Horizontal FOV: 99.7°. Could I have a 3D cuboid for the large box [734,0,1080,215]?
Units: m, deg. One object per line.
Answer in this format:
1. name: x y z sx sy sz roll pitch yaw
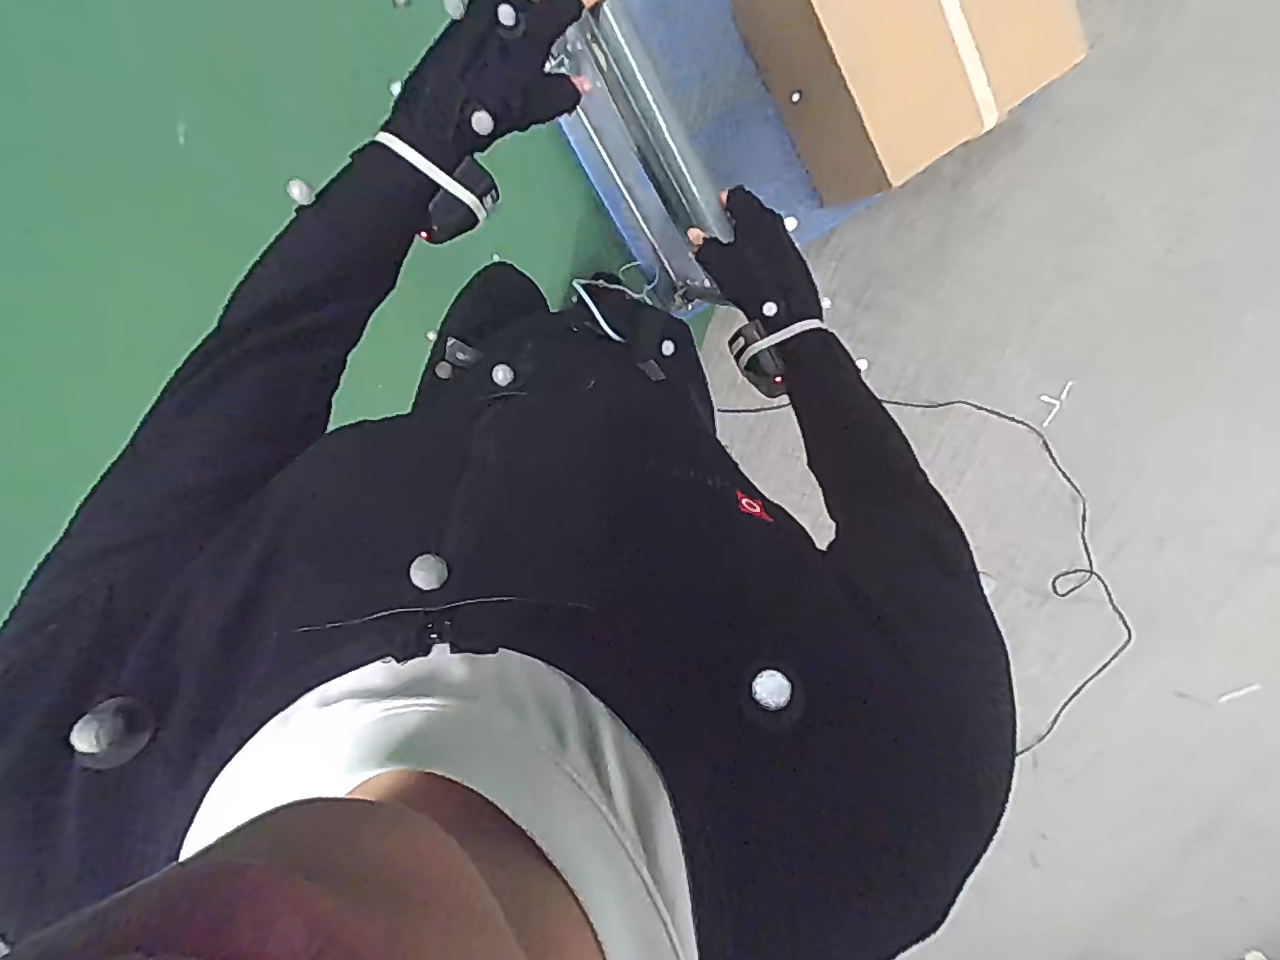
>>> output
1. large box: 0.404 -0.725 0.894 0.320 0.320 0.408 -32 107 10
